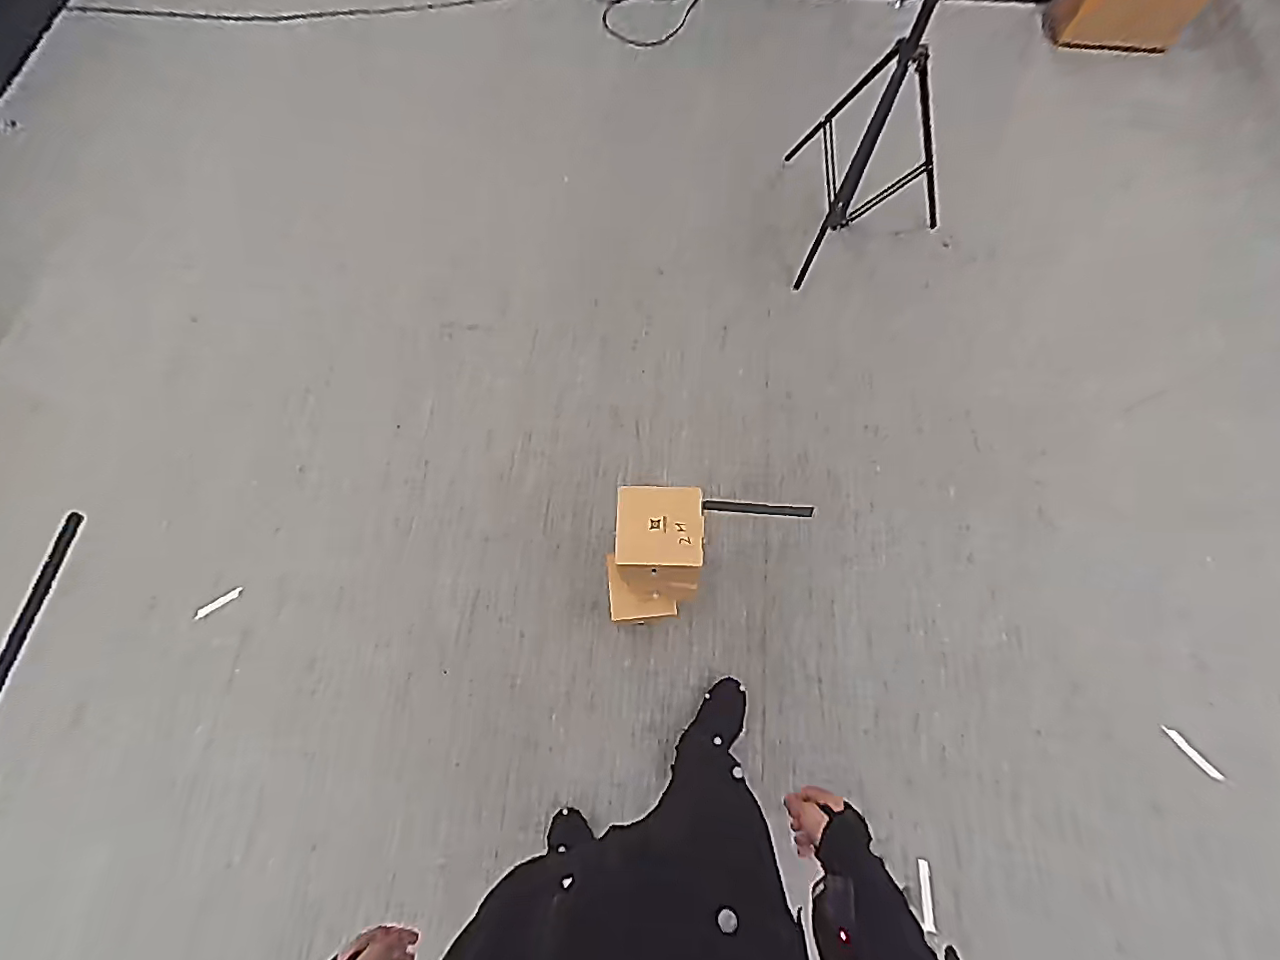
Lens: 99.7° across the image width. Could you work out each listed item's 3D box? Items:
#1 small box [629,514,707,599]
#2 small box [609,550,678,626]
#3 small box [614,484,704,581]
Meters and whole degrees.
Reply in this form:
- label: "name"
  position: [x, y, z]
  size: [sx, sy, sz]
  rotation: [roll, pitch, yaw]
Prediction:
- label: "small box"
  position: [0.063, 0.175, 1.297]
  size: [0.168, 0.176, 0.179]
  rotation: [8, 70, 5]
- label: "small box"
  position: [0.008, 0.283, 1.432]
  size: [0.168, 0.176, 0.179]
  rotation: [-6, 70, 0]
- label: "small box"
  position: [0.044, 0.116, 1.144]
  size: [0.179, 0.176, 0.168]
  rotation: [1, 69, 3]
